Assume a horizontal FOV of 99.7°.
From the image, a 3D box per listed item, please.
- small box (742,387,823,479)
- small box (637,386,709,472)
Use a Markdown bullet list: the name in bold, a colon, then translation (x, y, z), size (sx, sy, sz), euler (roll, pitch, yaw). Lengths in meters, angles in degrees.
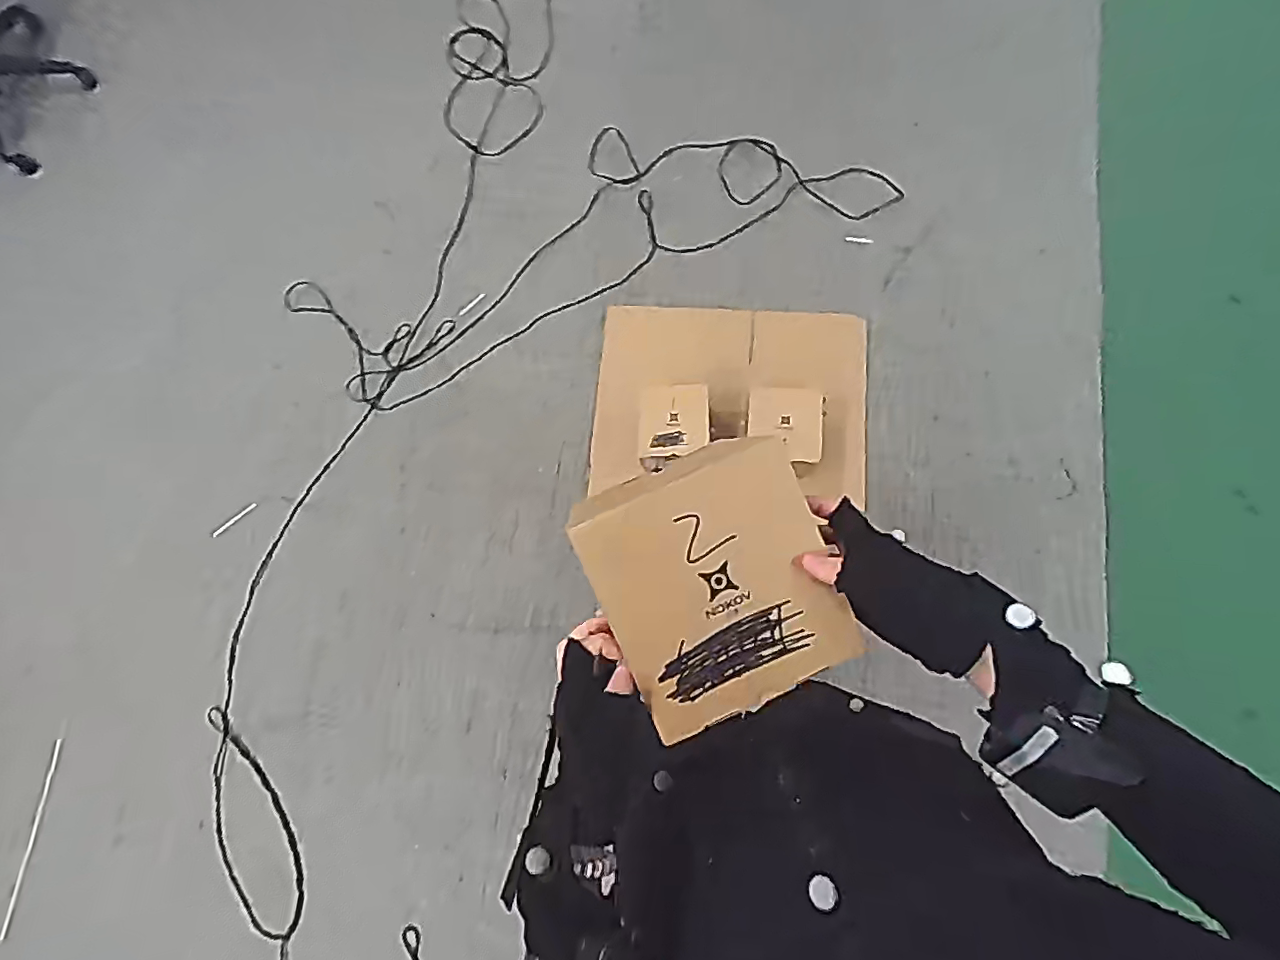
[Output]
- **small box**: translation (0.336, -0.109, 1.300), size (0.168, 0.176, 0.179), euler (4, 79, 8)
- **small box**: translation (0.085, -0.117, 1.325), size (0.168, 0.176, 0.179), euler (-1, 78, 6)
